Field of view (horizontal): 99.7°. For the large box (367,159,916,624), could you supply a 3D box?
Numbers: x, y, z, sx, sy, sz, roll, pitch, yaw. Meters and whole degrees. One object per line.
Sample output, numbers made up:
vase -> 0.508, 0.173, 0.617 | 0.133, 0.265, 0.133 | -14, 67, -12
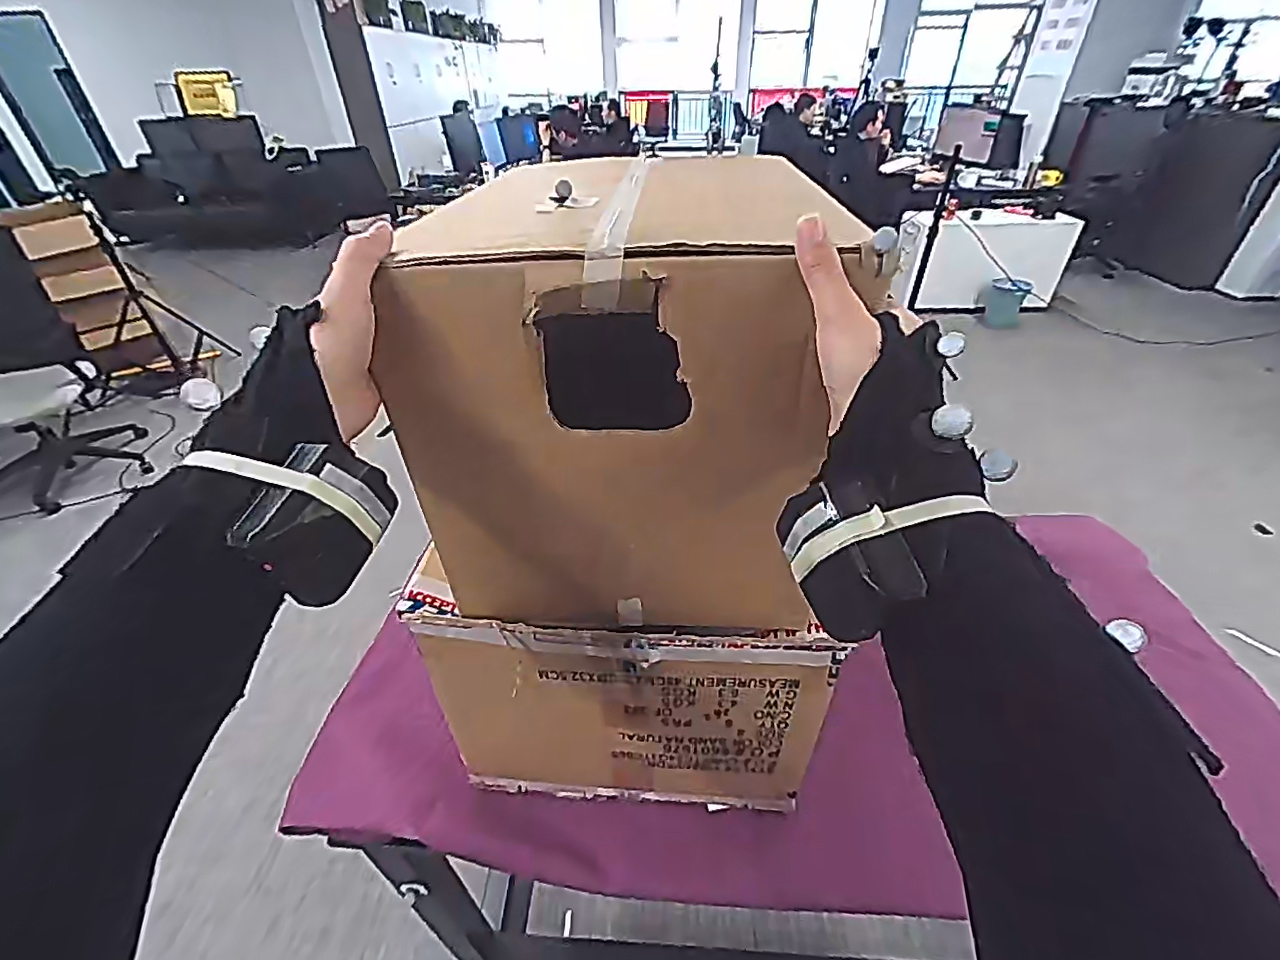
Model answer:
large box -> 0.008, -0.114, 0.540 | 0.320, 0.320, 0.408 | -1, 37, 4
